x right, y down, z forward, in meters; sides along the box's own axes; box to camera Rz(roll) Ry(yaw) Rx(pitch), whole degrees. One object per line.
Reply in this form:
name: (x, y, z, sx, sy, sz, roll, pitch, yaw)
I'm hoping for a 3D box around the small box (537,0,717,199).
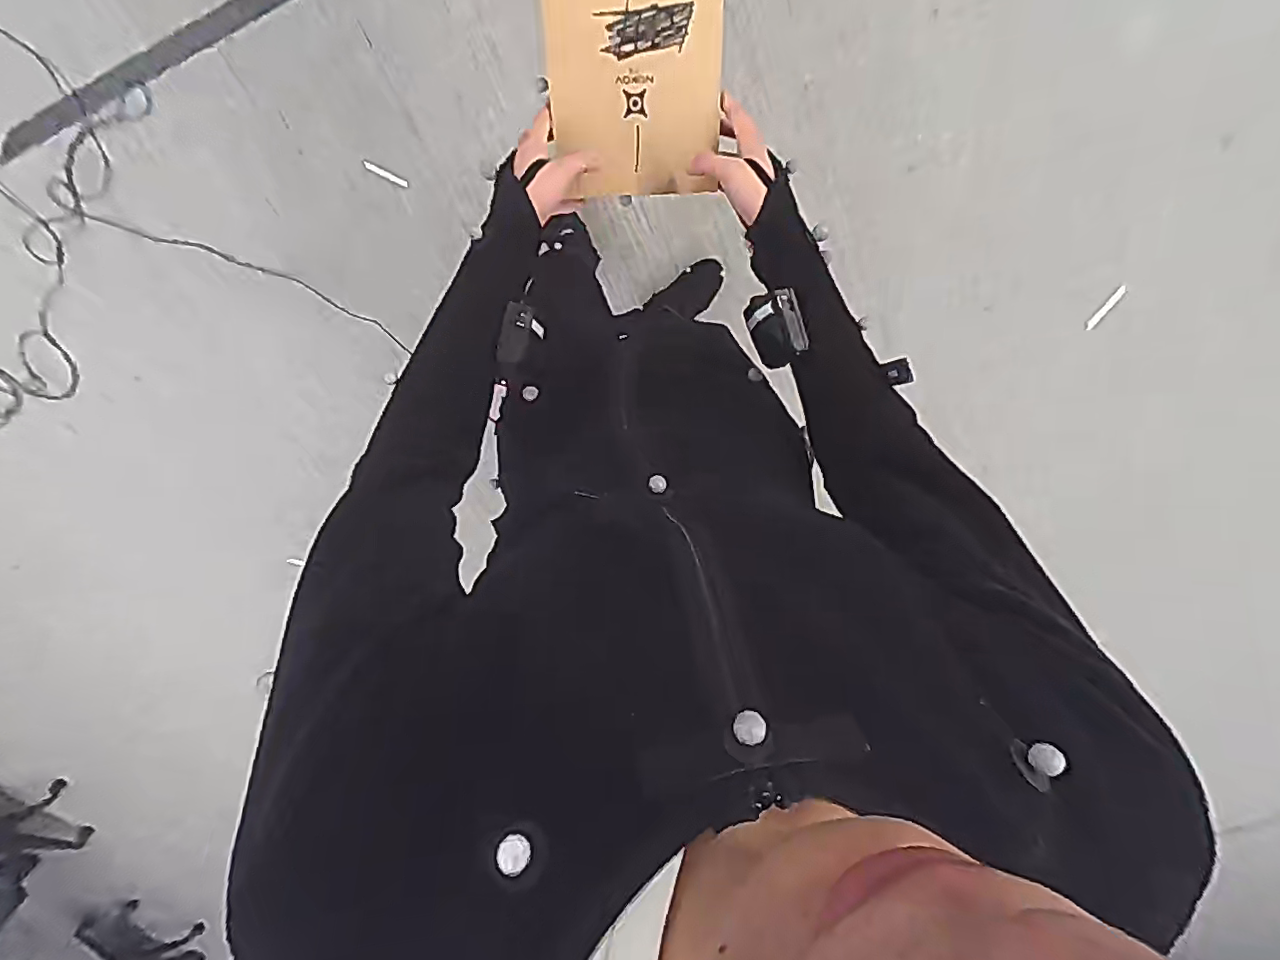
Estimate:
small box: (-0.018, -0.406, 0.581, 0.168, 0.176, 0.179, -5, 121, -4)
